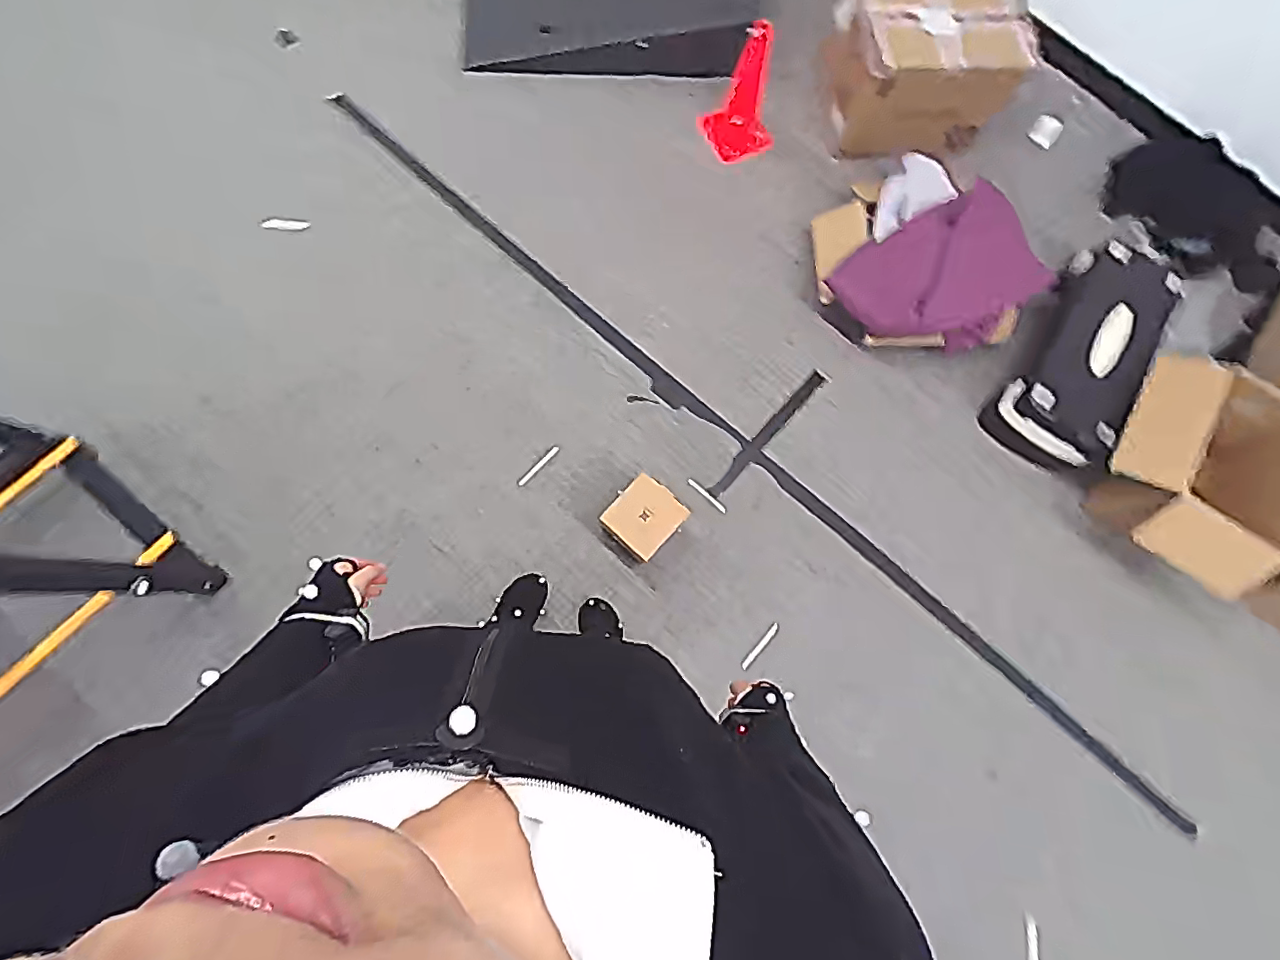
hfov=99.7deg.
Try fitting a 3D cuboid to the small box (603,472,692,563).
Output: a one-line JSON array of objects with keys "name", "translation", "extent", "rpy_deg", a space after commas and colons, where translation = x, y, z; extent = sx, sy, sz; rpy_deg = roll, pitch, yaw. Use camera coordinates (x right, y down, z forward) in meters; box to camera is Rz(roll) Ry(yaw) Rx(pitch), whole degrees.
[{"name": "small box", "translation": [0.014, 0.107, 1.461], "extent": [0.168, 0.176, 0.179], "rpy_deg": [42, 80, 6]}]
